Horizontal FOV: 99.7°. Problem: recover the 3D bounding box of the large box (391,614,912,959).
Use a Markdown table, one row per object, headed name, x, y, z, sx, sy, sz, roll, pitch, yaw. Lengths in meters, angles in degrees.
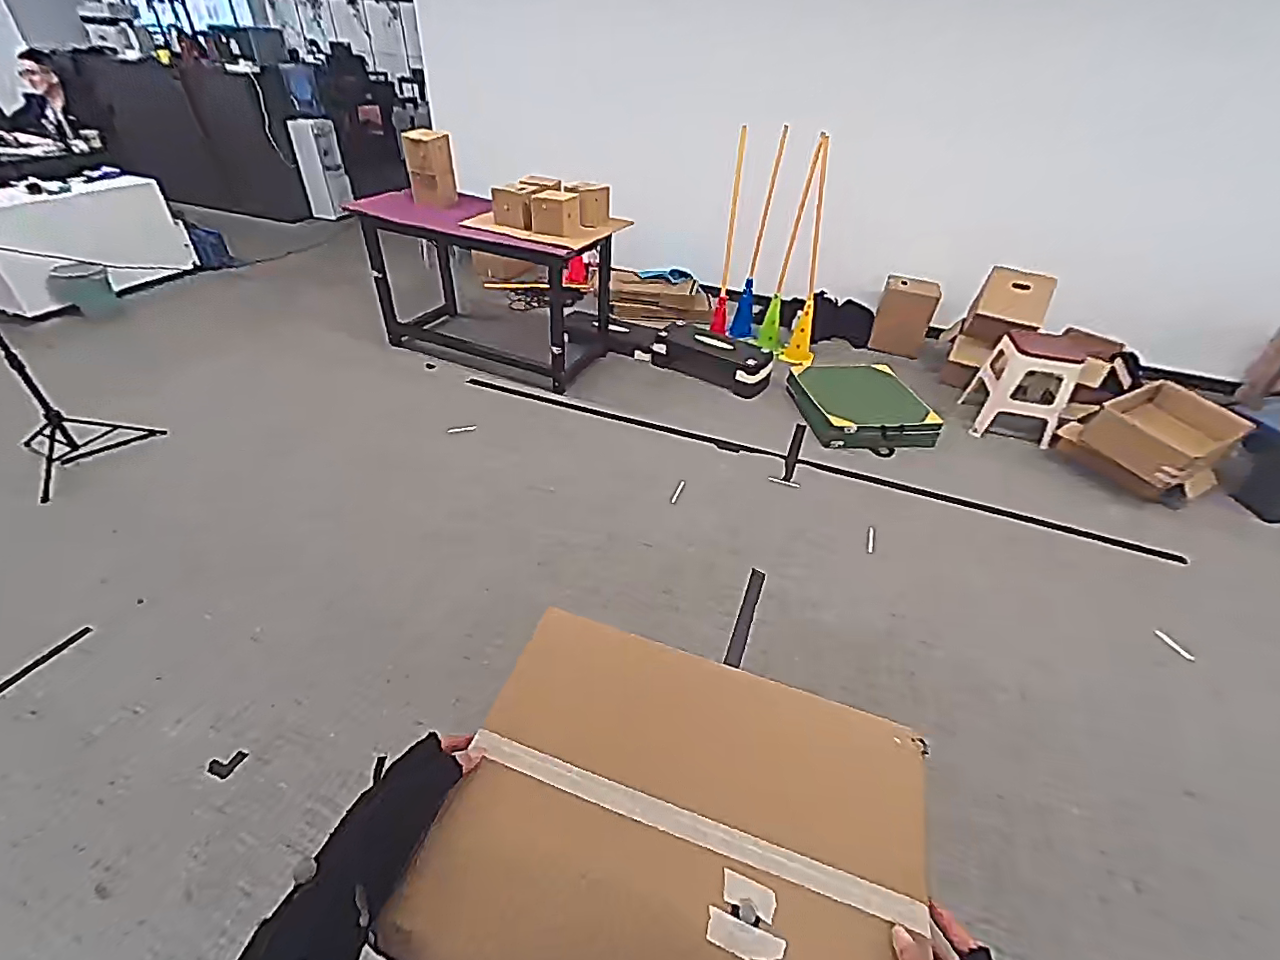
| name | x | y | z | sx | sy | sz | roll | pitch | yaw |
| --- | --- | --- | --- | --- | --- | --- | --- | --- | --- |
| large box | 0.029 | 0.408 | 0.589 | 0.408 | 0.320 | 0.320 | 15 | 46 | 12 |
